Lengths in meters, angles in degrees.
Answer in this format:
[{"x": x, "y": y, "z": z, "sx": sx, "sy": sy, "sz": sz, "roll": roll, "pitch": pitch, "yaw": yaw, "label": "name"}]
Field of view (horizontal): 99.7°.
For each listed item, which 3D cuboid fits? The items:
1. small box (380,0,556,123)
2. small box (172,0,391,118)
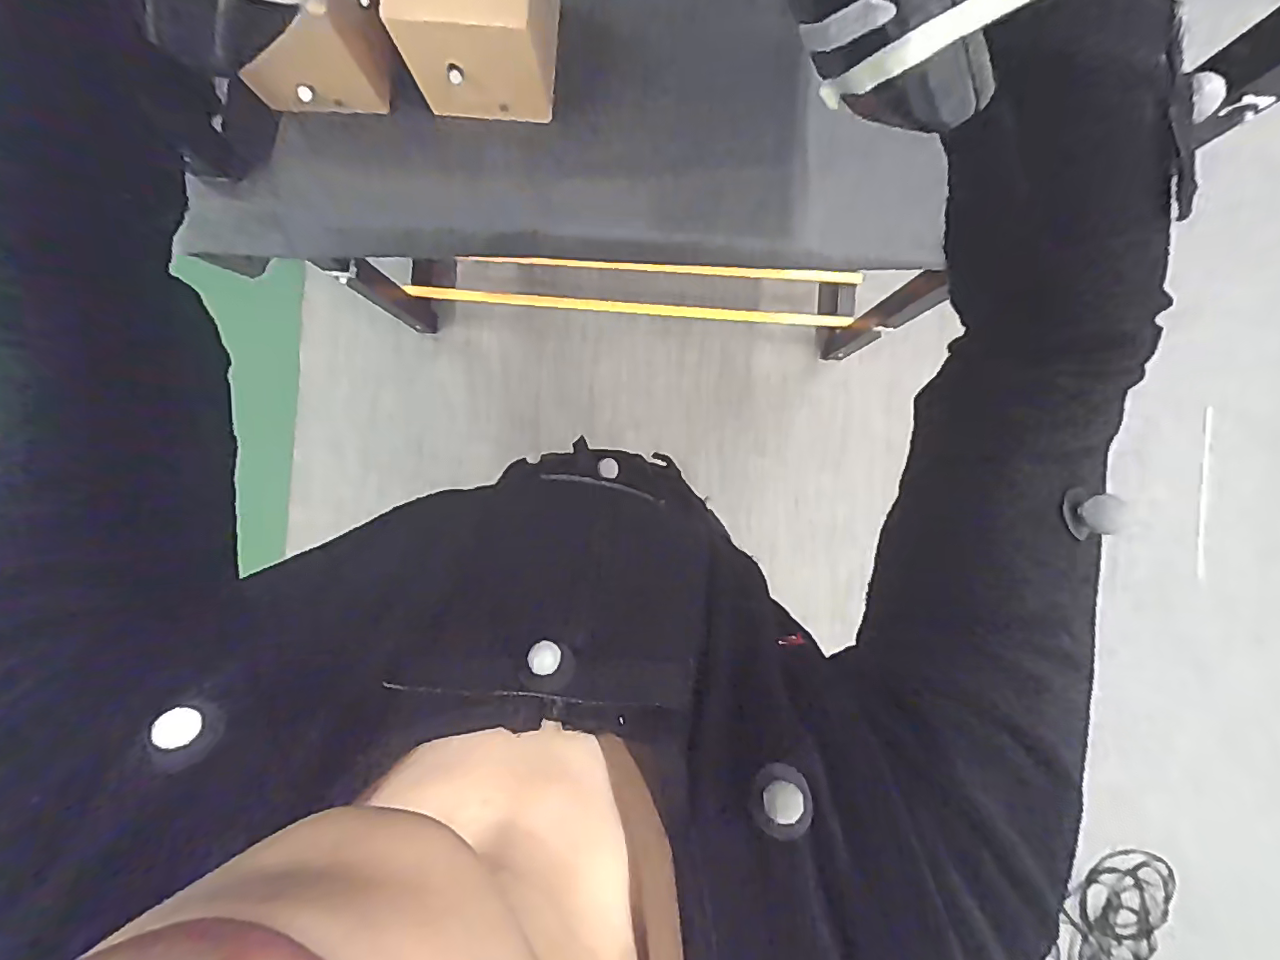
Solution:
[{"x": -0.201, "y": -0.586, "z": 0.676, "sx": 0.168, "sy": 0.176, "sz": 0.179, "roll": 4, "pitch": 89, "yaw": -1, "label": "small box"}, {"x": -0.428, "y": -0.595, "z": 0.672, "sx": 0.168, "sy": 0.176, "sz": 0.179, "roll": 1, "pitch": 90, "yaw": 0, "label": "small box"}]
